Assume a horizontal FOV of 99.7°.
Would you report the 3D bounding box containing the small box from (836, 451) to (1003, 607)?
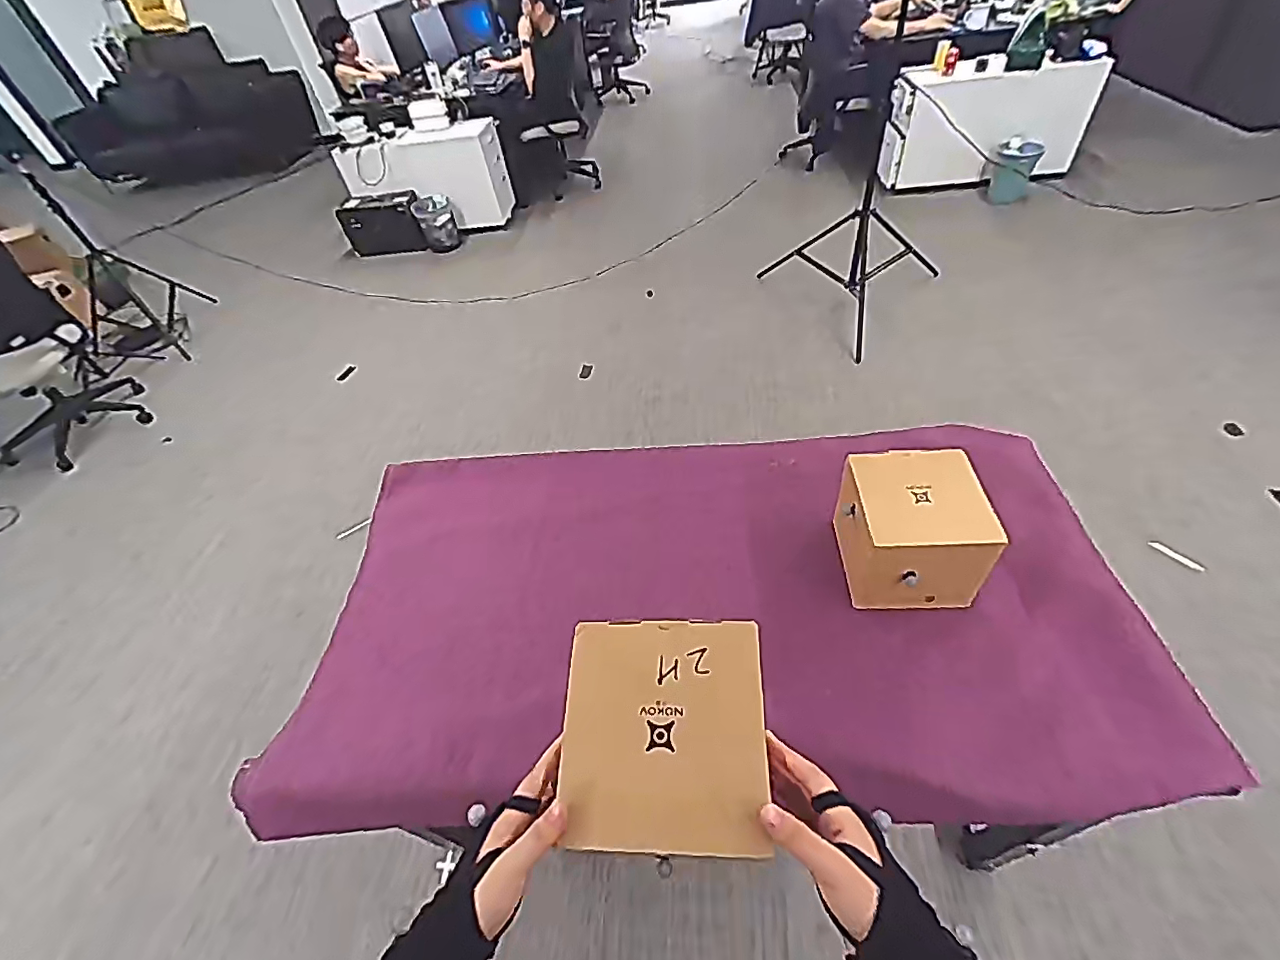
[{"bbox_3d":[0.402,0.079,0.814,0.168,0.176,0.179,-3,46,8],"label":"small box"}]
